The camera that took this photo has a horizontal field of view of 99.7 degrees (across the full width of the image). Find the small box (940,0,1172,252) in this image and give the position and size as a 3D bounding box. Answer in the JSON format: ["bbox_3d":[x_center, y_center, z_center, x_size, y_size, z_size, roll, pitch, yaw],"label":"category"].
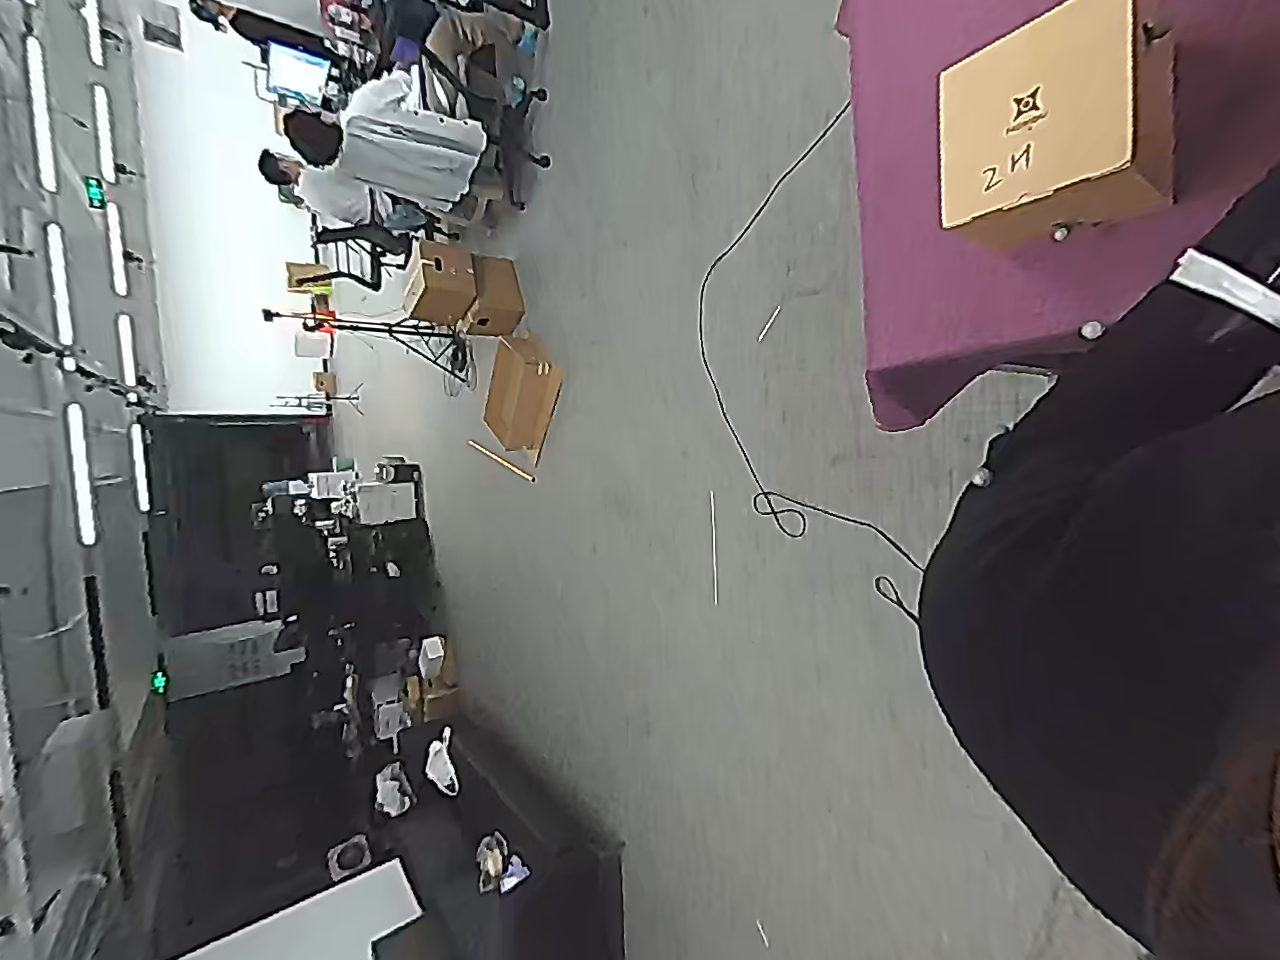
[{"bbox_3d":[0.455,-0.377,0.597,0.168,0.176,0.179,1,95,54],"label":"small box"}]
